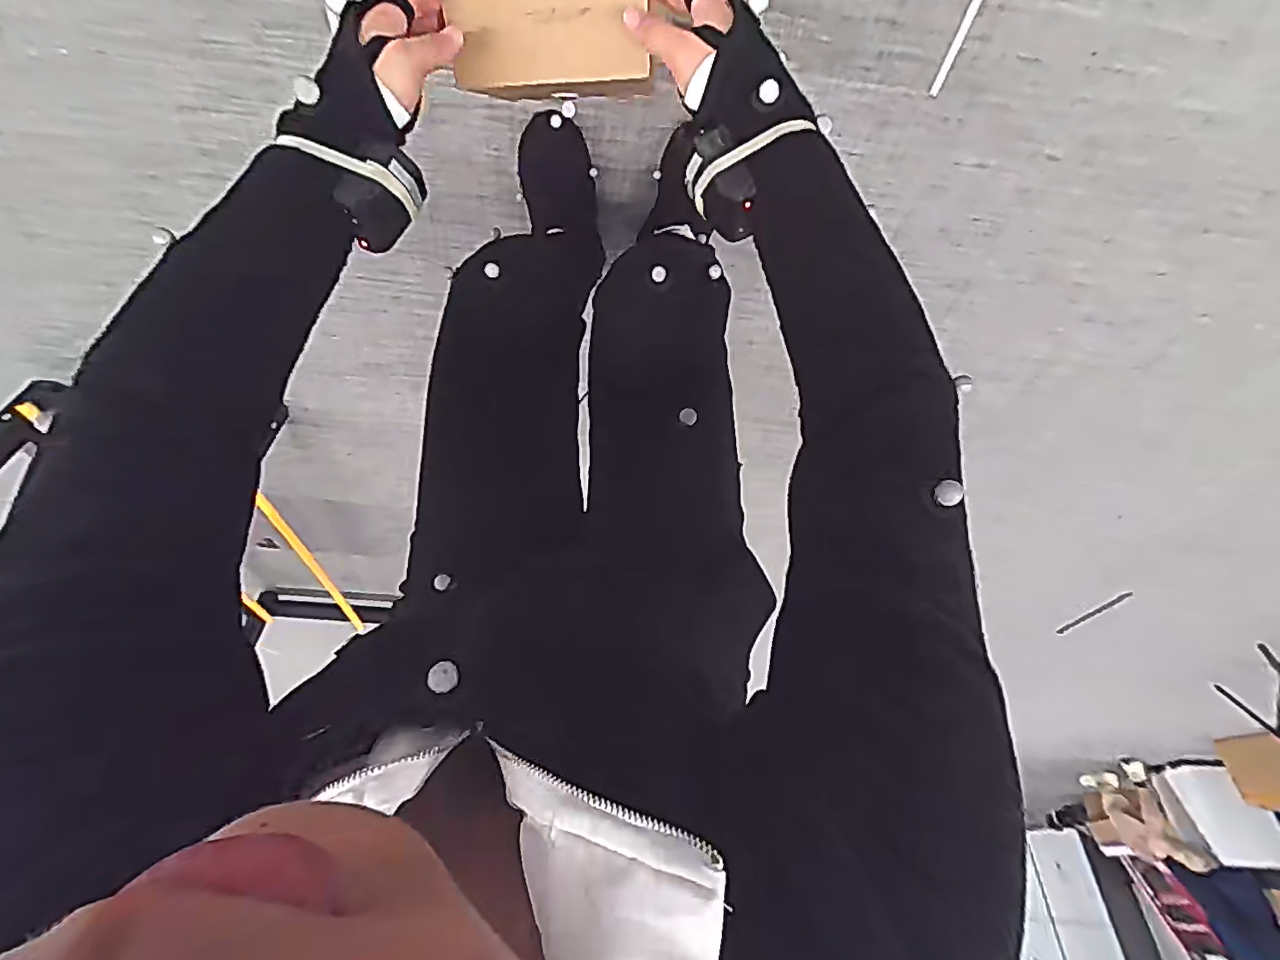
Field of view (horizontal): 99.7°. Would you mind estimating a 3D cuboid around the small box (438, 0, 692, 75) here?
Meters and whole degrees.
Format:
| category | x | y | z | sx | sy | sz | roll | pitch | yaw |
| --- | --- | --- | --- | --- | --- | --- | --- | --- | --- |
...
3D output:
| category | x | y | z | sx | sy | sz | roll | pitch | yaw |
| --- | --- | --- | --- | --- | --- | --- | --- | --- | --- |
| small box | -0.047 | -0.404 | 0.378 | 0.168 | 0.176 | 0.179 | 0 | 124 | 6 |
